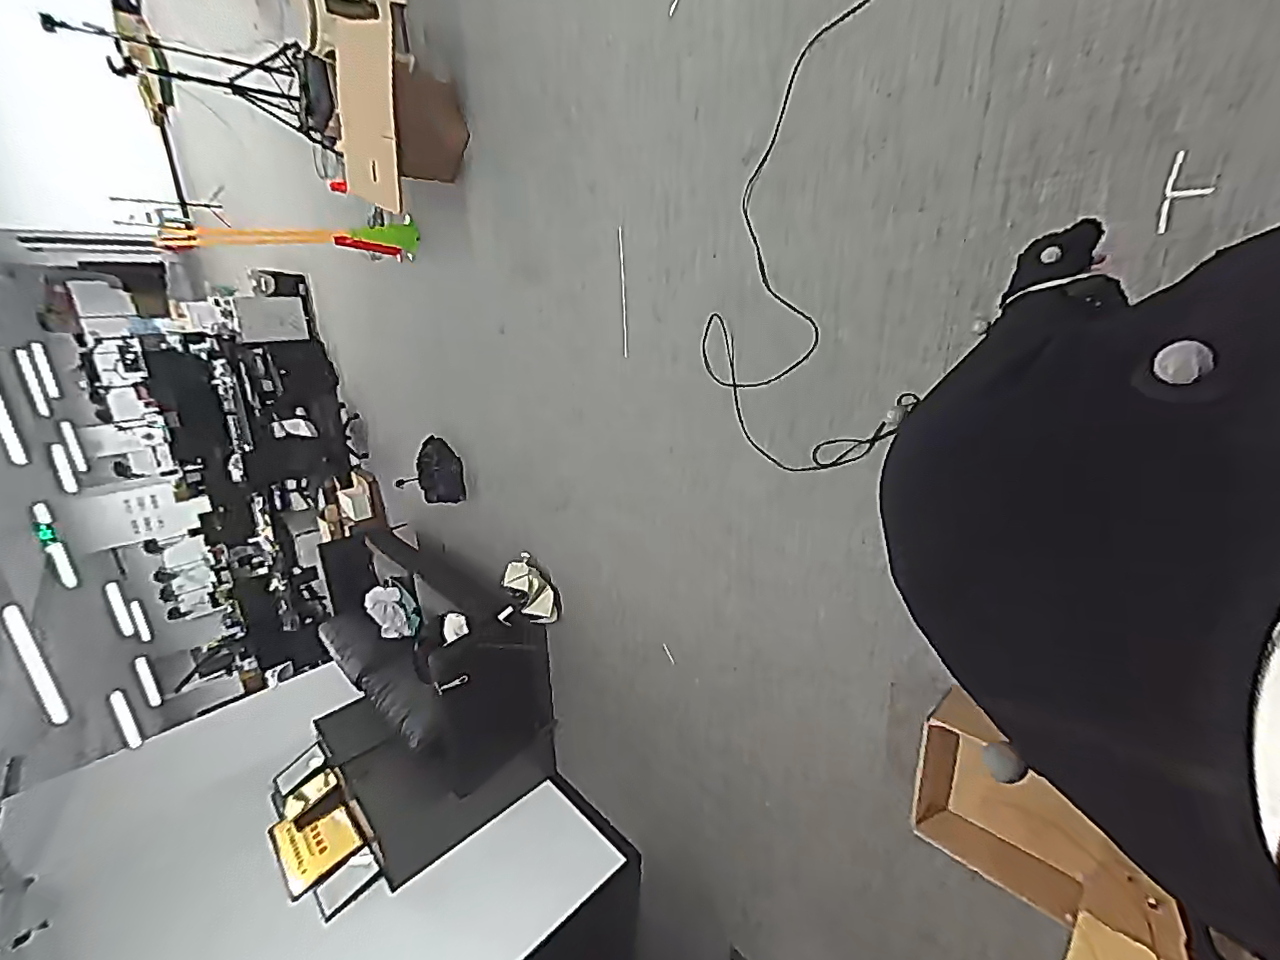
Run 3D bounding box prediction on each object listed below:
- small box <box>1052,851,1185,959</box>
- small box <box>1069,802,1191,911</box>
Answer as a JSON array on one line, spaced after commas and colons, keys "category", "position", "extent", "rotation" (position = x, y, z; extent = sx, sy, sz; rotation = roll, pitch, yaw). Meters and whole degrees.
[{"category": "small box", "position": [0.975, 0.921, 1.101], "extent": [0.168, 0.176, 0.179], "rotation": [16, 116, 44]}, {"category": "small box", "position": [1.093, 0.878, 1.205], "extent": [0.168, 0.176, 0.179], "rotation": [17, 117, 43]}]
